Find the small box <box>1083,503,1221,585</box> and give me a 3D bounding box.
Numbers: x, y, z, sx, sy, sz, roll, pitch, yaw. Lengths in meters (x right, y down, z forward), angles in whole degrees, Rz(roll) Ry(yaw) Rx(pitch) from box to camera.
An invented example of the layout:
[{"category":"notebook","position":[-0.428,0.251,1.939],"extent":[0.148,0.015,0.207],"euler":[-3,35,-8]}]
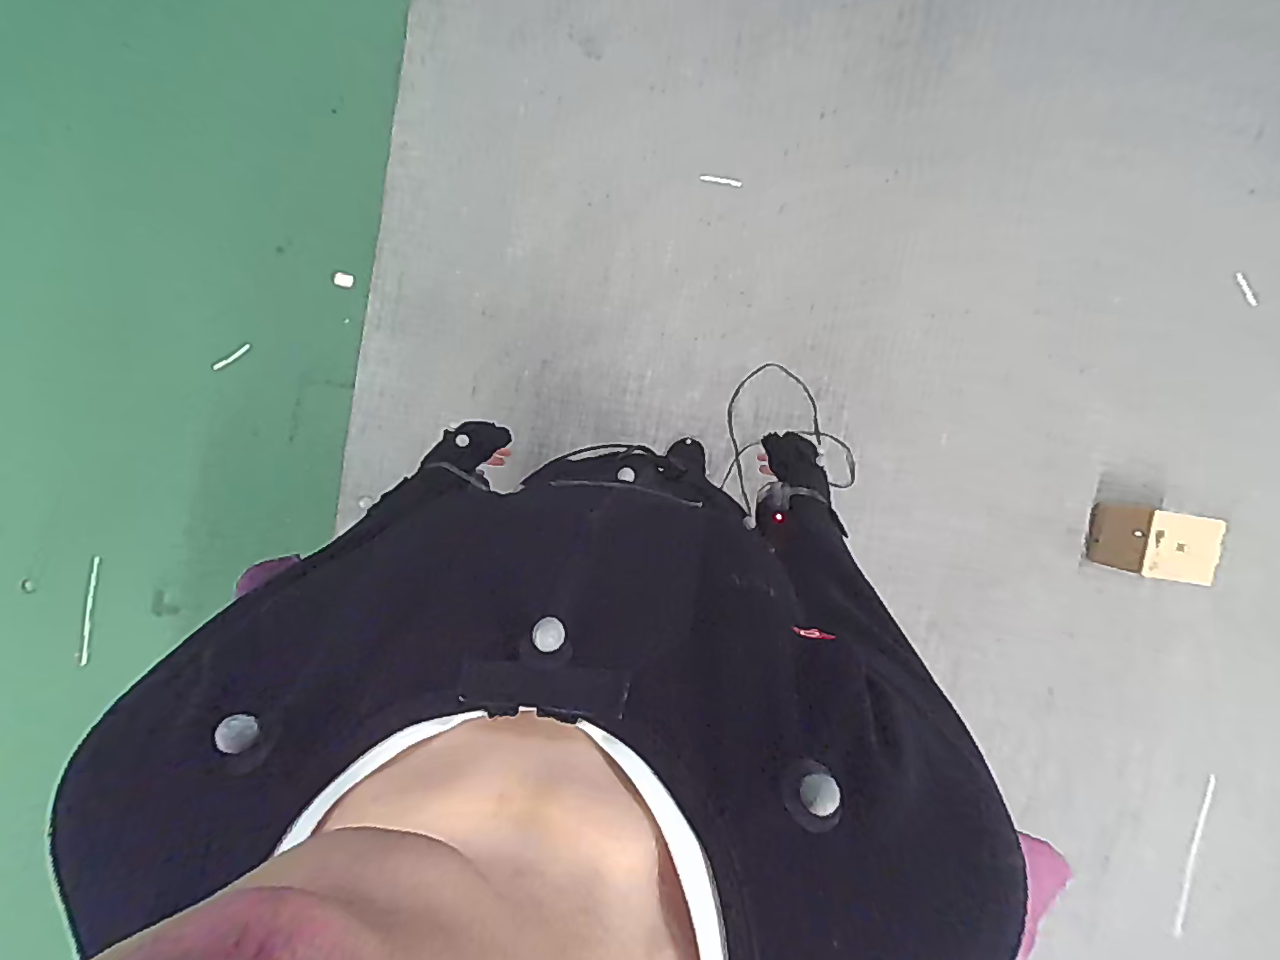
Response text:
[{"category":"small box","position":[1.304,0.157,1.388],"extent":[0.179,0.176,0.168],"euler":[9,93,0]}]
